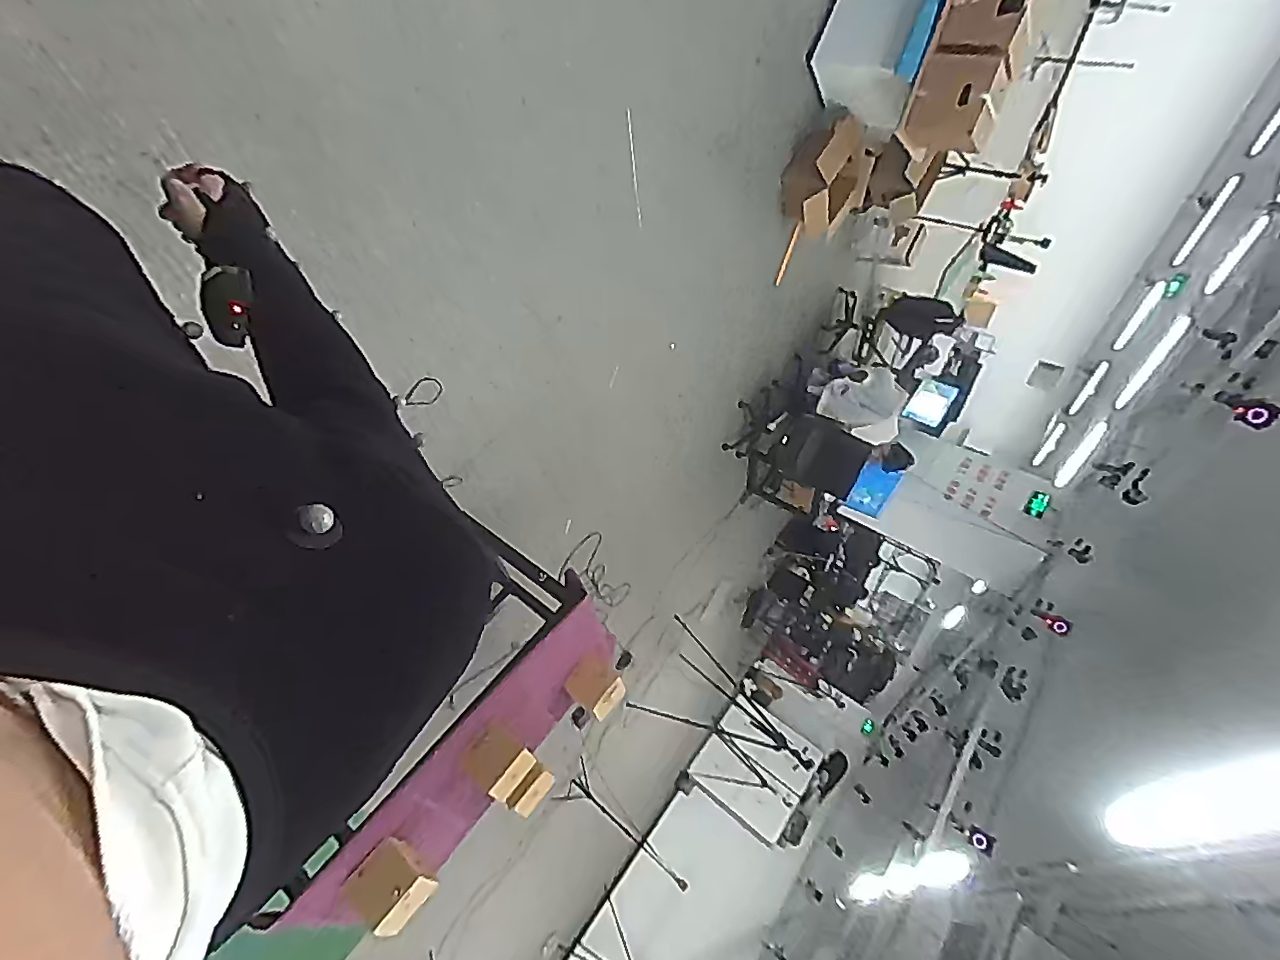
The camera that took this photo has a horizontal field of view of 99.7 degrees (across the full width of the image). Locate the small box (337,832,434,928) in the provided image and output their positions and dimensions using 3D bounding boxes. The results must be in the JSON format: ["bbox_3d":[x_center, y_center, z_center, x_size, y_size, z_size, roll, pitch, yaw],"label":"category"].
[{"bbox_3d":[-0.760,1.196,1.622,0.168,0.176,0.179,-46,153,-30],"label":"small box"}]

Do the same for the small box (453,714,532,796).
[{"bbox_3d":[-0.496,0.924,1.823,0.168,0.176,0.179,-46,151,-28],"label":"small box"}]

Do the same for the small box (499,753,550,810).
[{"bbox_3d":[-0.474,1.112,2.053,0.168,0.176,0.179,-46,149,-26],"label":"small box"}]
